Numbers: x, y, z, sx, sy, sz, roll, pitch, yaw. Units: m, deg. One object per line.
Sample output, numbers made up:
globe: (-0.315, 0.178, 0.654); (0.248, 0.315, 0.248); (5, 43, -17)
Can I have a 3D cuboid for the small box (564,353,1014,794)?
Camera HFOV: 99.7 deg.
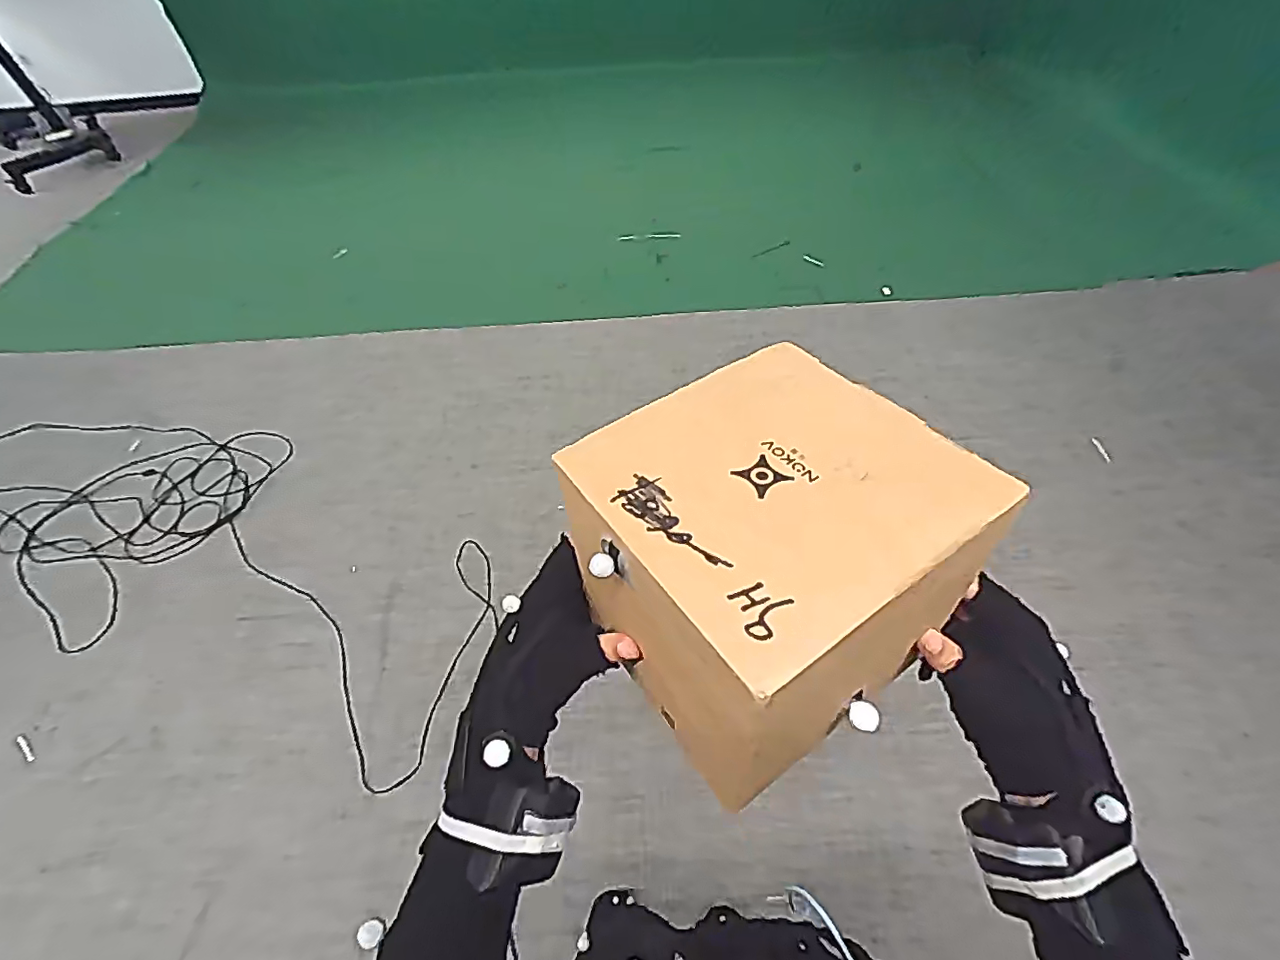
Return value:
small box: (0.074, 0.053, 0.340); (0.179, 0.176, 0.168); (-28, 50, -21)
